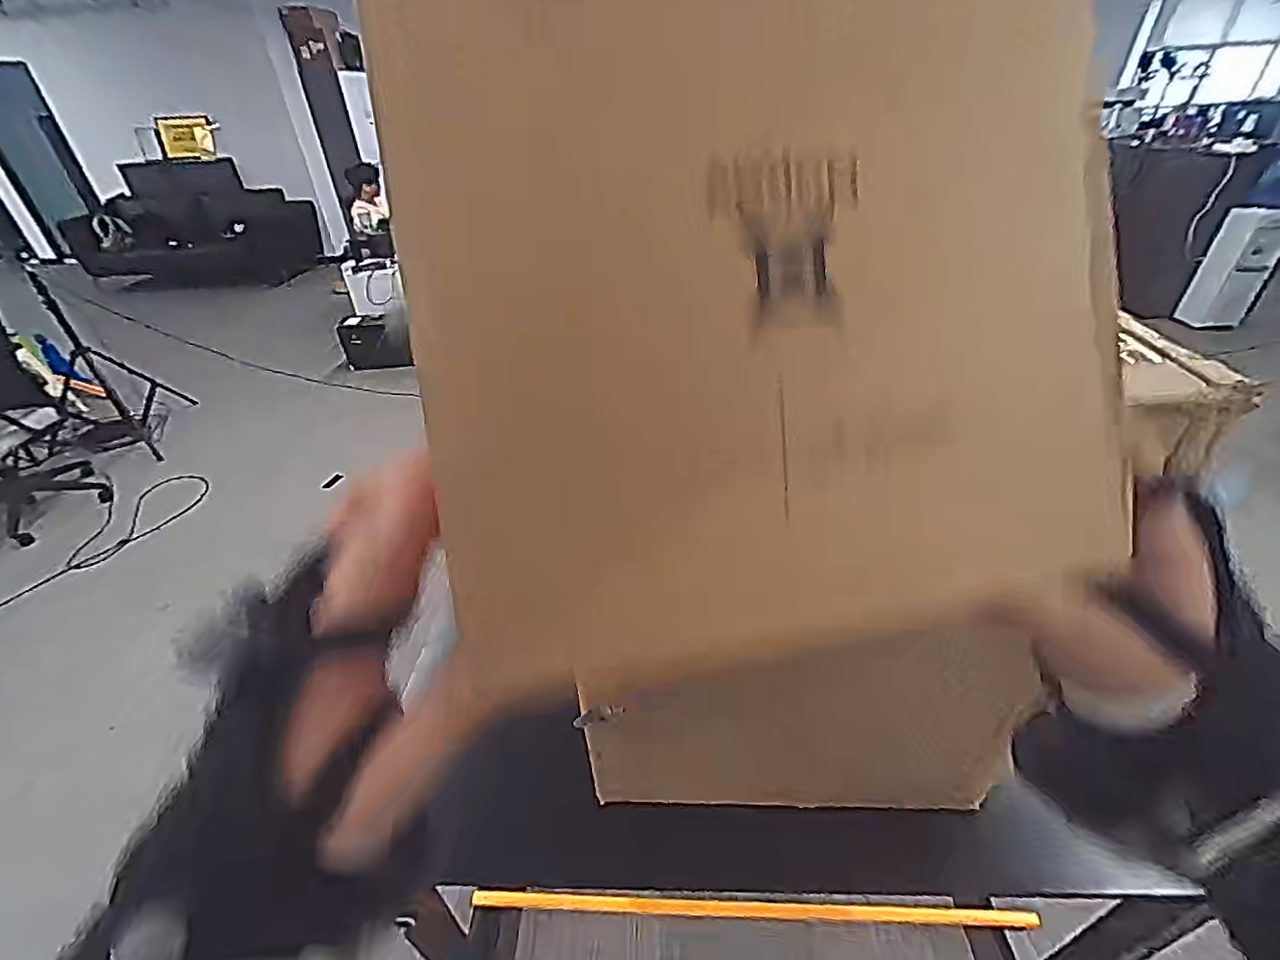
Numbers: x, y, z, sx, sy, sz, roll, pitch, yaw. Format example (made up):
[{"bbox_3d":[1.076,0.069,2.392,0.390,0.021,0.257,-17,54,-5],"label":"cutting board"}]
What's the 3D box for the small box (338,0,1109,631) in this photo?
[{"bbox_3d":[0.014,-0.067,0.199,0.168,0.179,0.176,-9,4,-8],"label":"small box"}]
